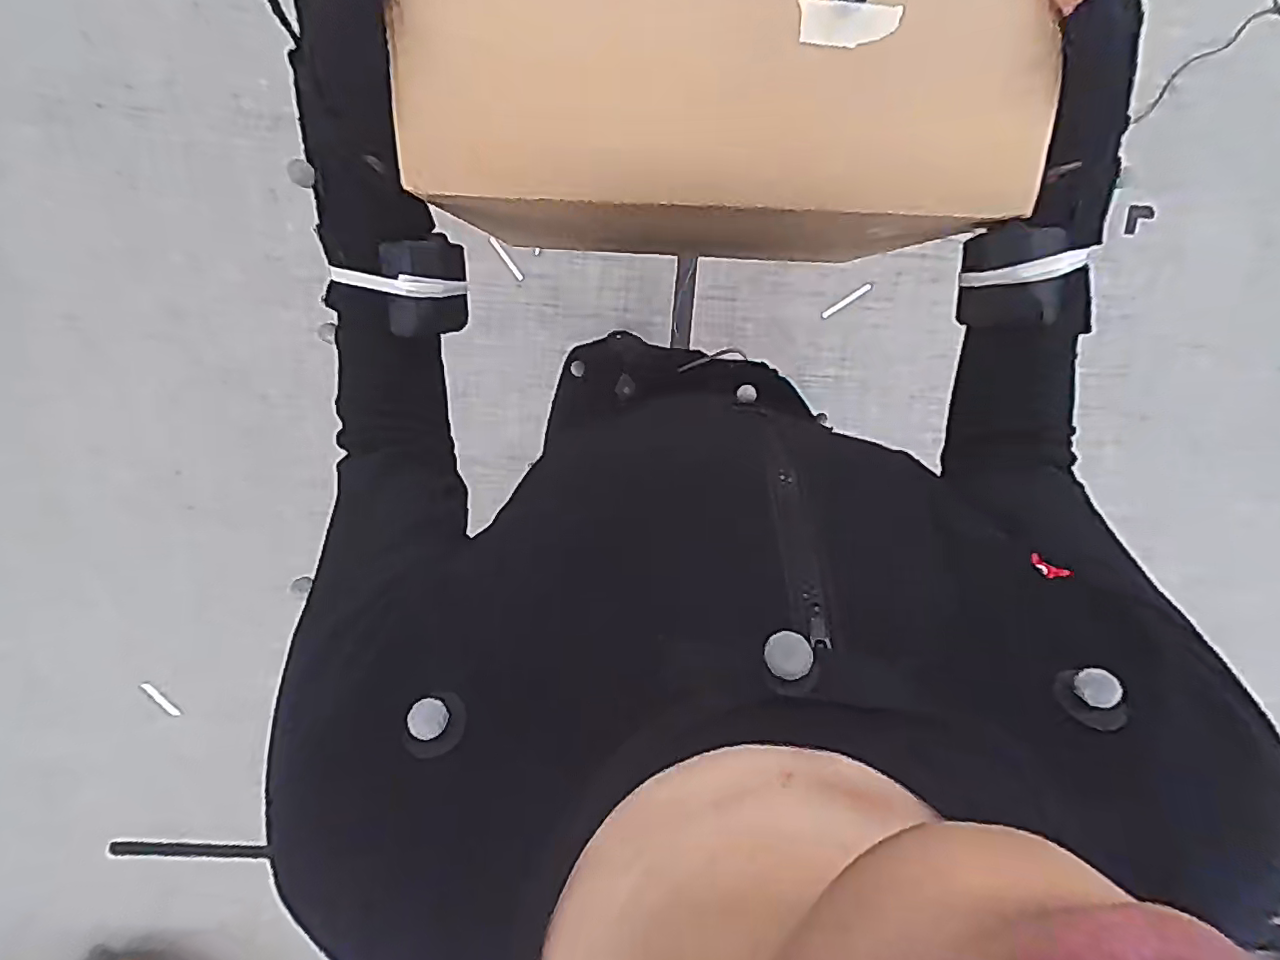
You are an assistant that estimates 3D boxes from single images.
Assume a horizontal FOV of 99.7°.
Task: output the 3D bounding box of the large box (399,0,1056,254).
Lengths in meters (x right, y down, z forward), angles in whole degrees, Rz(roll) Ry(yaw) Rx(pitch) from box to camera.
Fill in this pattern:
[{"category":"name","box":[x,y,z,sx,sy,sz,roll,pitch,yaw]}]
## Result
[{"category":"large box","box":[0.050,-0.372,0.454,0.408,0.320,0.320,1,109,-2]}]
